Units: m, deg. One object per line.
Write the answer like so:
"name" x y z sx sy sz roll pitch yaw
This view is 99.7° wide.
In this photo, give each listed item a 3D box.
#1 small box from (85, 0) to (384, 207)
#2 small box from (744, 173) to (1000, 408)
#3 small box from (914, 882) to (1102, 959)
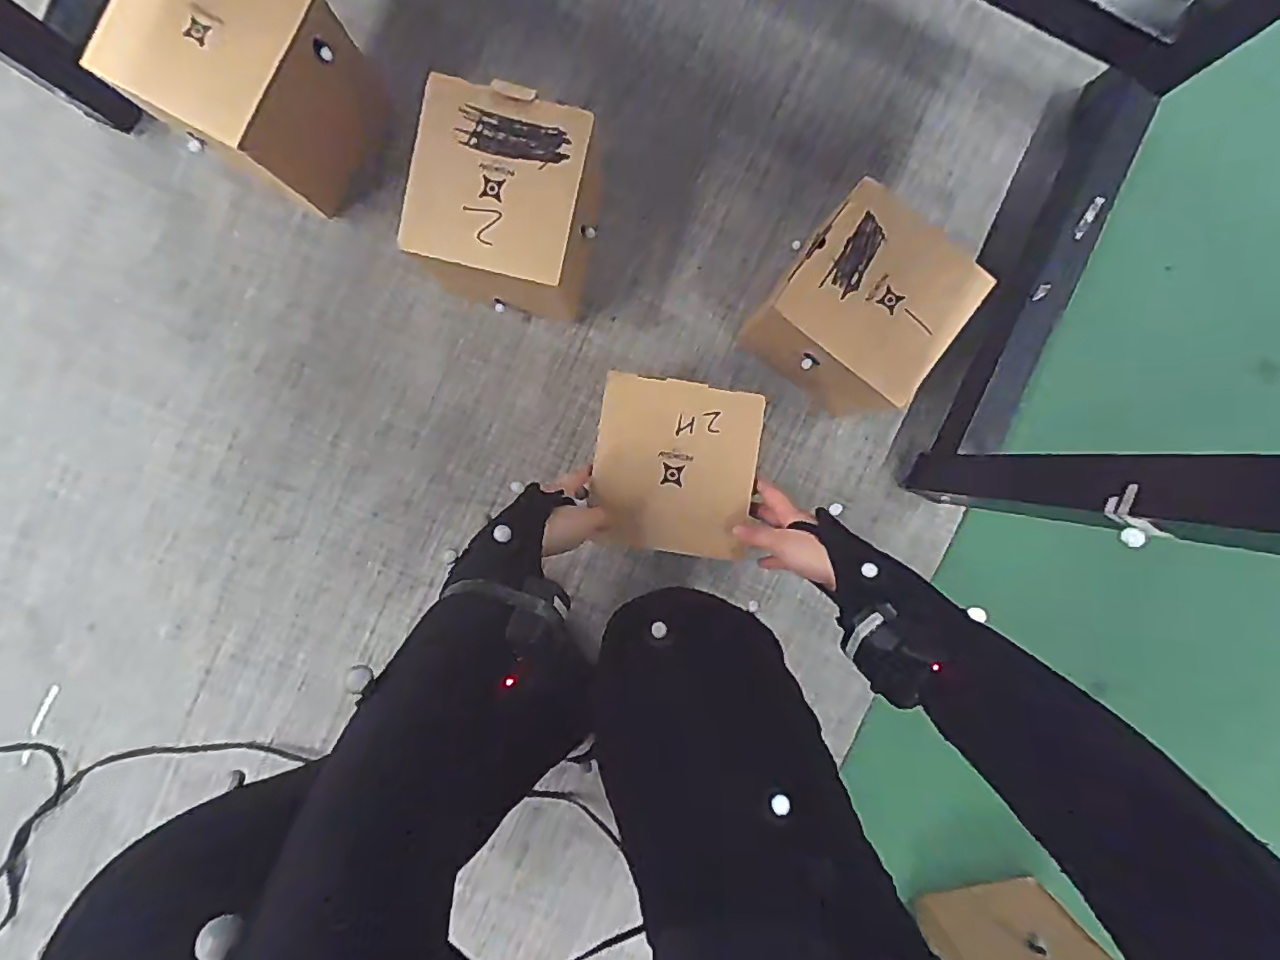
"small box" -0.417 -0.441 0.591 0.168 0.176 0.179 28 92 -3
"small box" 0.245 -0.195 0.621 0.179 0.176 0.168 37 92 -5
"small box" 0.478 0.650 0.679 0.179 0.176 0.168 -8 94 -2
